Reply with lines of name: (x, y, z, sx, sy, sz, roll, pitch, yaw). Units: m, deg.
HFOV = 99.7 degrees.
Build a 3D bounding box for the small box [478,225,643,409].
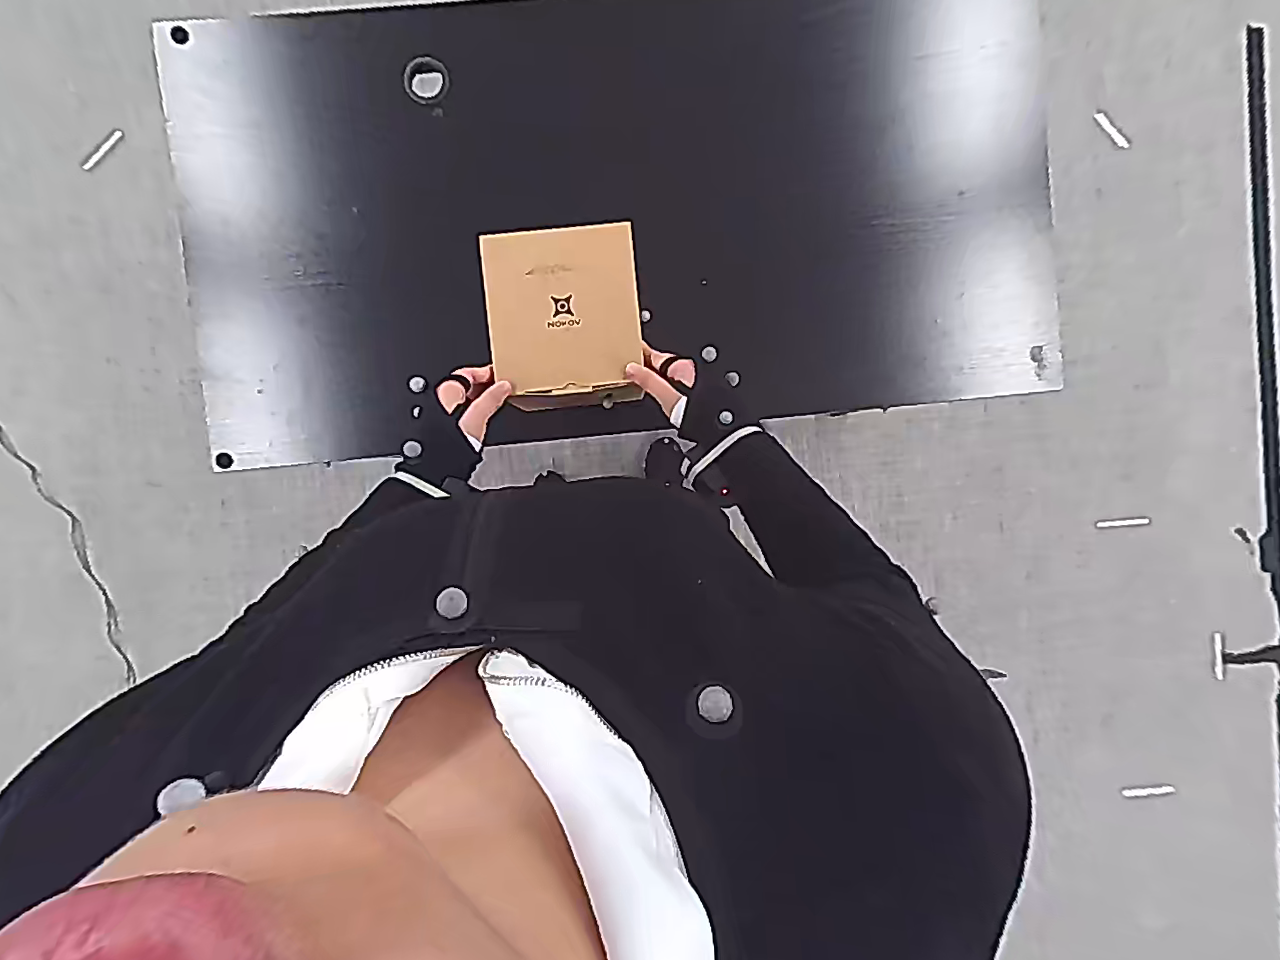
small box: (-0.086, -0.183, 0.660, 0.168, 0.176, 0.179, -6, 92, -2)
